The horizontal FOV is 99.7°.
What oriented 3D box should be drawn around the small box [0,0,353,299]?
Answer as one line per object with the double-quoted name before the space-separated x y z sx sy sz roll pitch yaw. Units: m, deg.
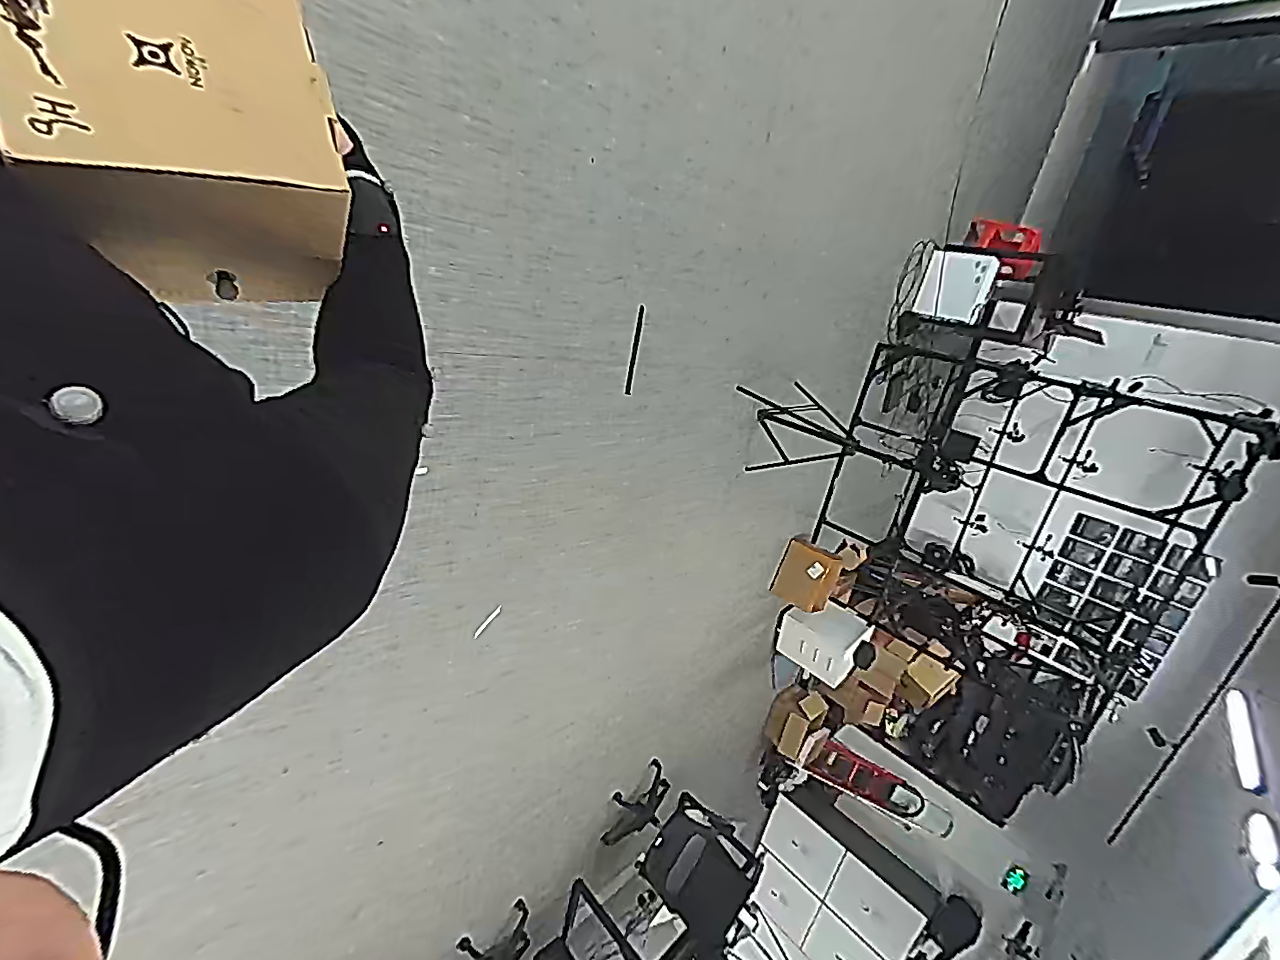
"small box" -0.352 -0.259 0.432 0.179 0.176 0.168 -13 85 -35
